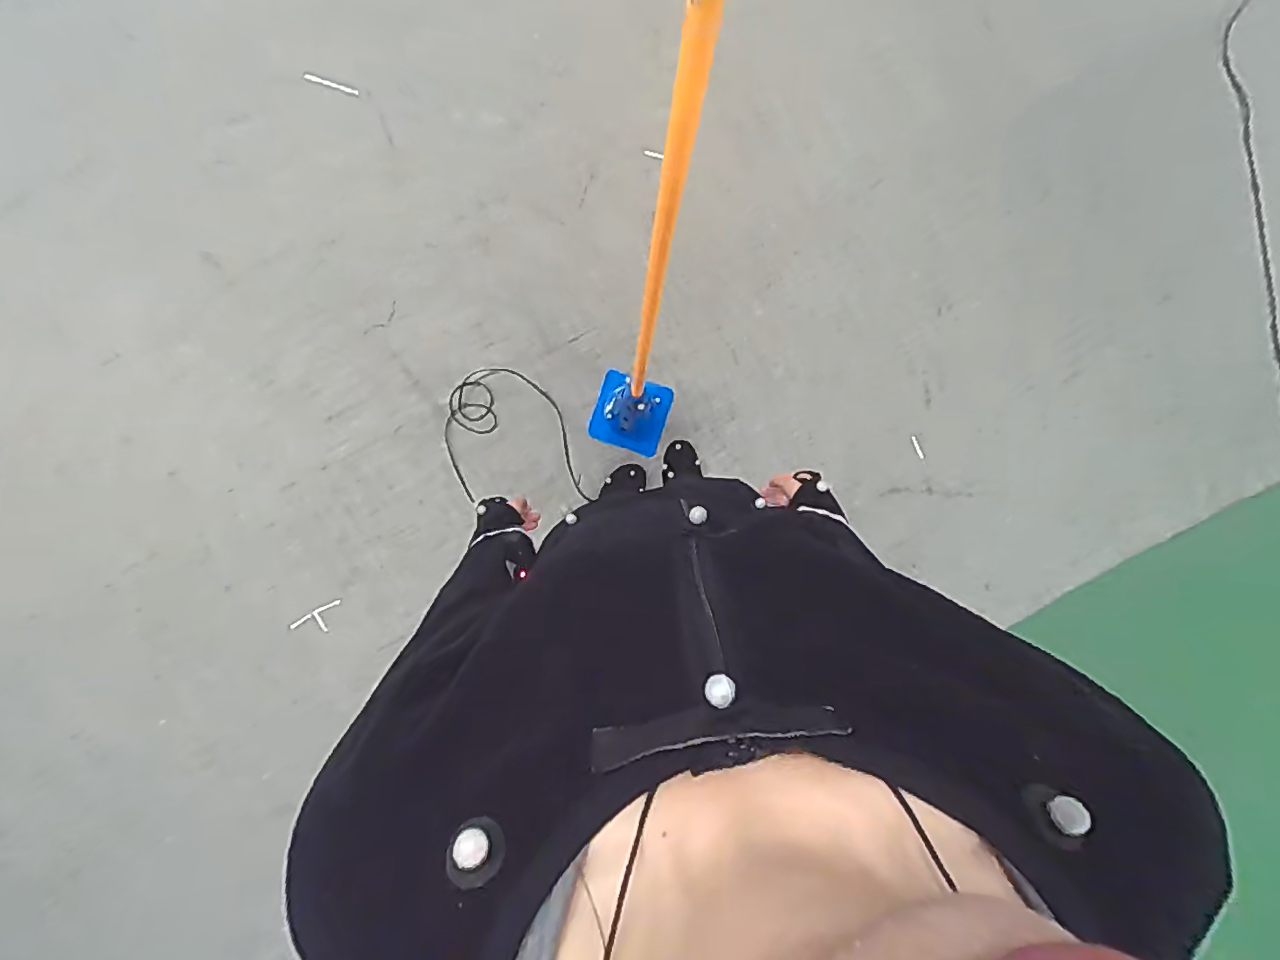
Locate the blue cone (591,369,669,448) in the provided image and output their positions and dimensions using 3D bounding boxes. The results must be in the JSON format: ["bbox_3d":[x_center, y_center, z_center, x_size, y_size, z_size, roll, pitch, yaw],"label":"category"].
[{"bbox_3d":[-0.016,-0.198,1.309,0.192,0.380,0.193,17,88,-3],"label":"blue cone"}]
